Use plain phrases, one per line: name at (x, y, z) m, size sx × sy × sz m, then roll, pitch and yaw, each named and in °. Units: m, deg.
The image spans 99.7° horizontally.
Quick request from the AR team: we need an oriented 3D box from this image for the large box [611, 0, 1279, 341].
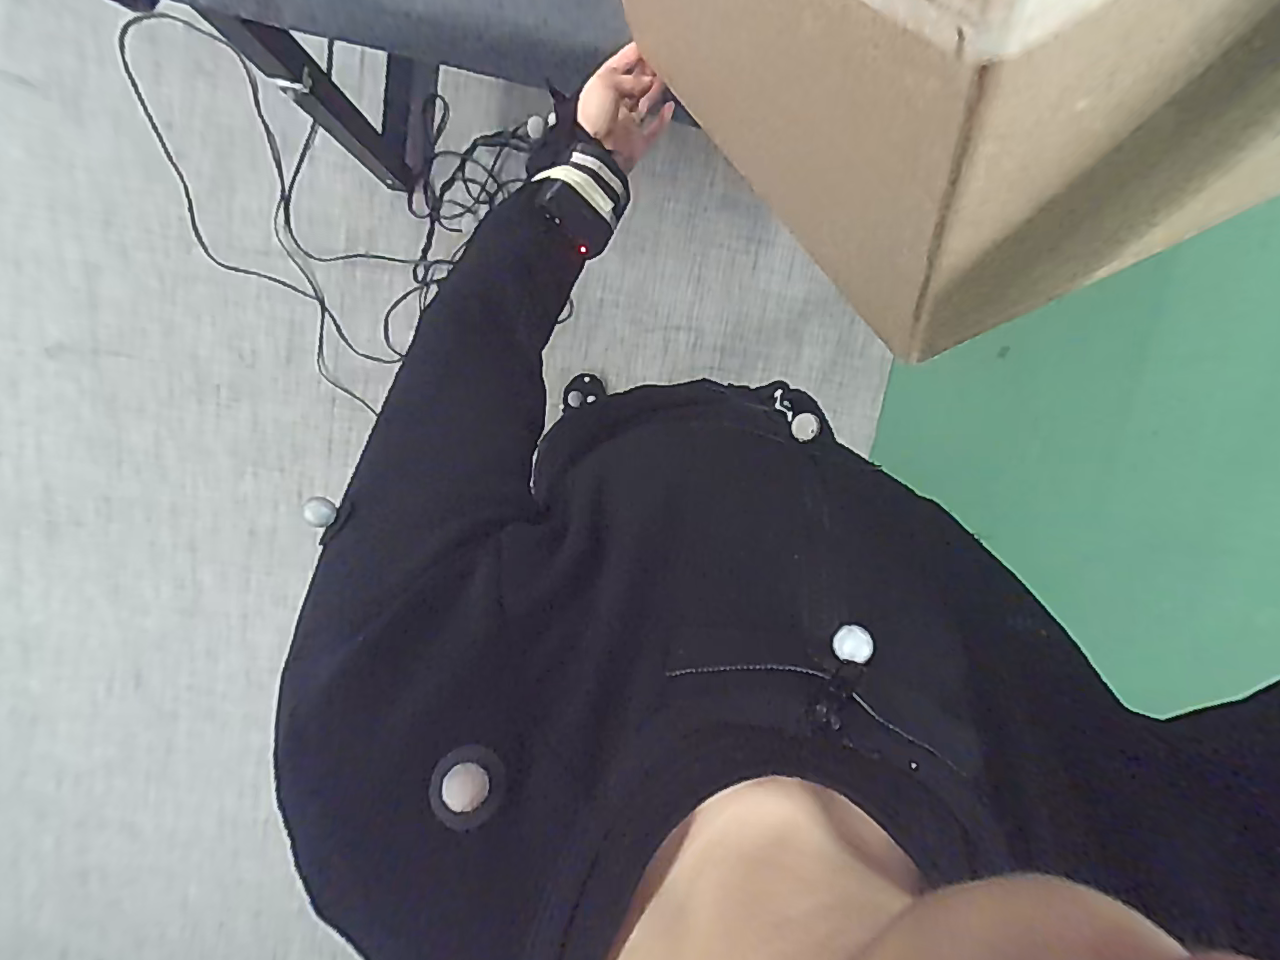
large box at (0.157, -0.349, 0.234) m, size 0.320 × 0.320 × 0.408 m, roll -28°, pitch 61°, yaw 3°
